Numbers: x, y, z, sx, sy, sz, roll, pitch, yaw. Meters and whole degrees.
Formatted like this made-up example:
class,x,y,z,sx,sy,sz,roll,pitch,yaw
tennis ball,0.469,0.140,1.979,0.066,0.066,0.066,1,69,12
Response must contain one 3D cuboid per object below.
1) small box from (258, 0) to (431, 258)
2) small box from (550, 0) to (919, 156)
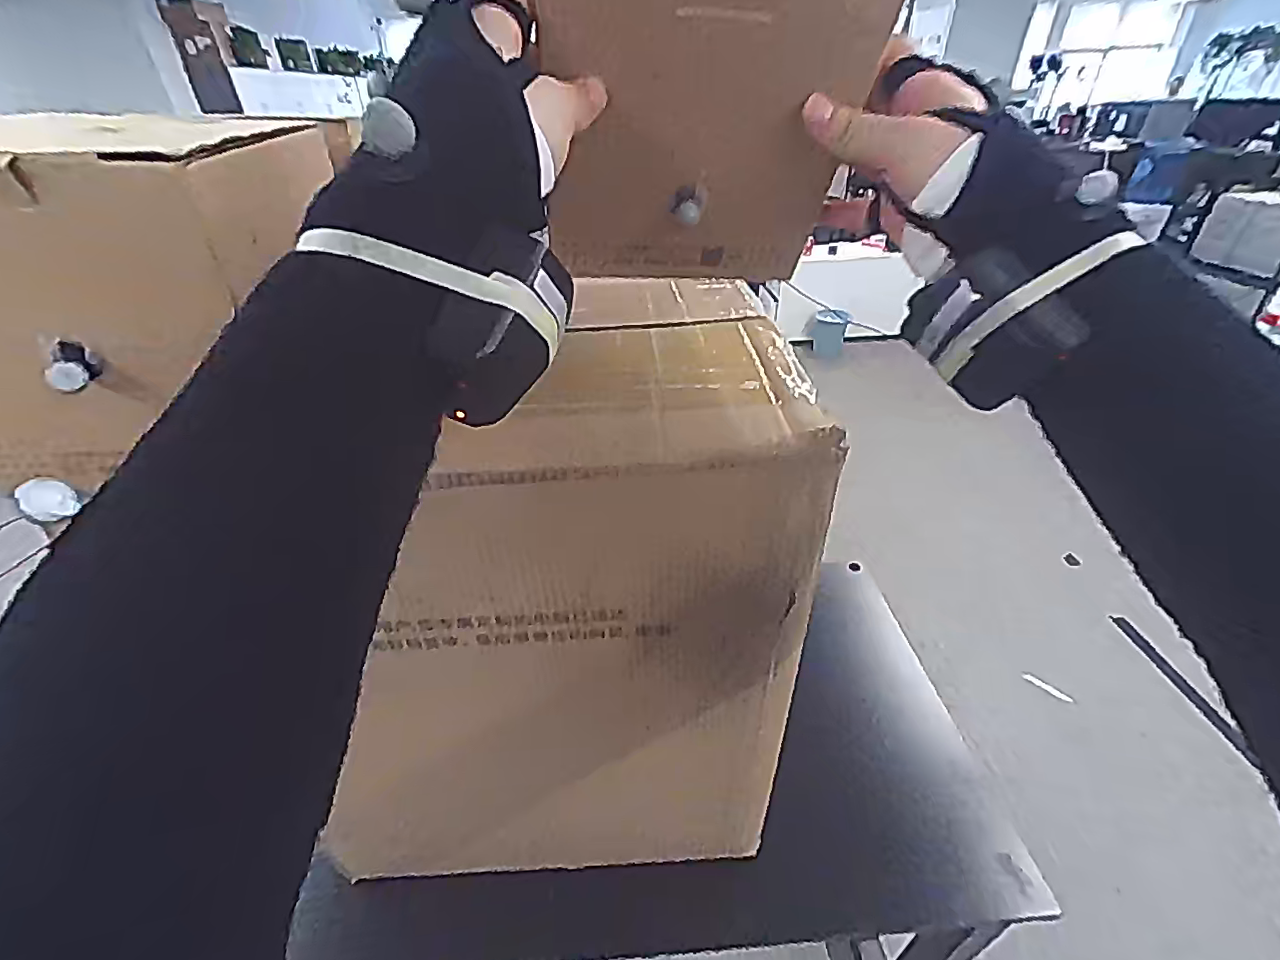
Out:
class,x,y,z,sx,sy,sz,roll,pitch,yaw
small box,-0.283,-0.270,0.413,0.179,0.176,0.168,-1,34,-2
small box,0.039,-0.291,0.260,0.168,0.176,0.179,-2,60,-7
